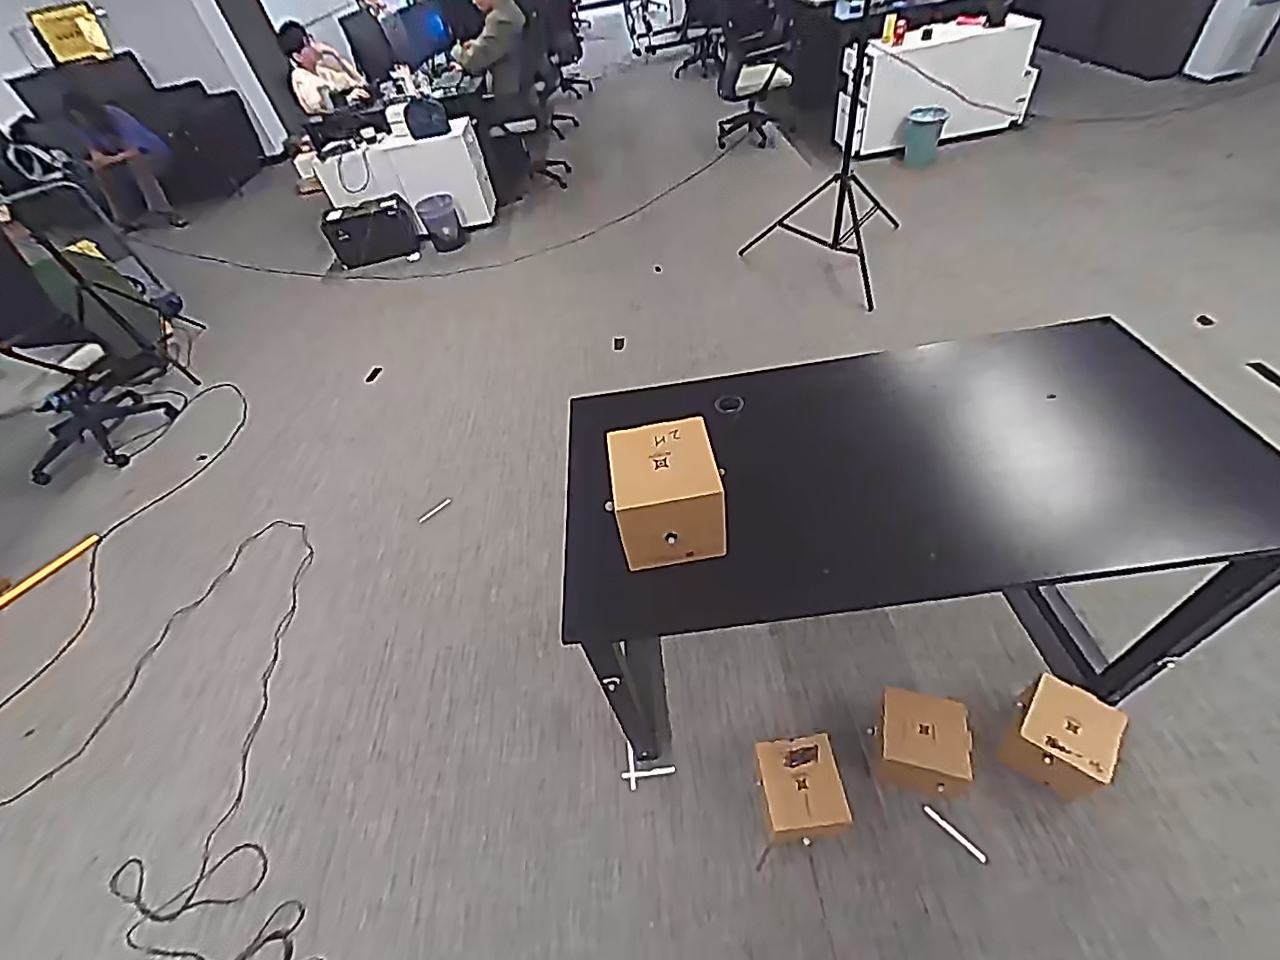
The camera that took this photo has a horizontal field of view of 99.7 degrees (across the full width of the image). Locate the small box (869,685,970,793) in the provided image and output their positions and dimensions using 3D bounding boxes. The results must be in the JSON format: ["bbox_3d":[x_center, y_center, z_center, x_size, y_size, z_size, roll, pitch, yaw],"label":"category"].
[{"bbox_3d":[0.646,0.608,1.264,0.179,0.176,0.168,7,49,18],"label":"small box"}]

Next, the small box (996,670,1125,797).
[{"bbox_3d":[0.945,0.578,1.229,0.168,0.176,0.179,27,59,31],"label":"small box"}]

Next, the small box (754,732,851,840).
[{"bbox_3d":[0.360,0.700,1.235,0.168,0.176,0.179,-9,49,3],"label":"small box"}]

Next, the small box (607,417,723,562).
[{"bbox_3d":[0.043,0.024,0.912,0.168,0.176,0.179,-10,47,1],"label":"small box"}]
